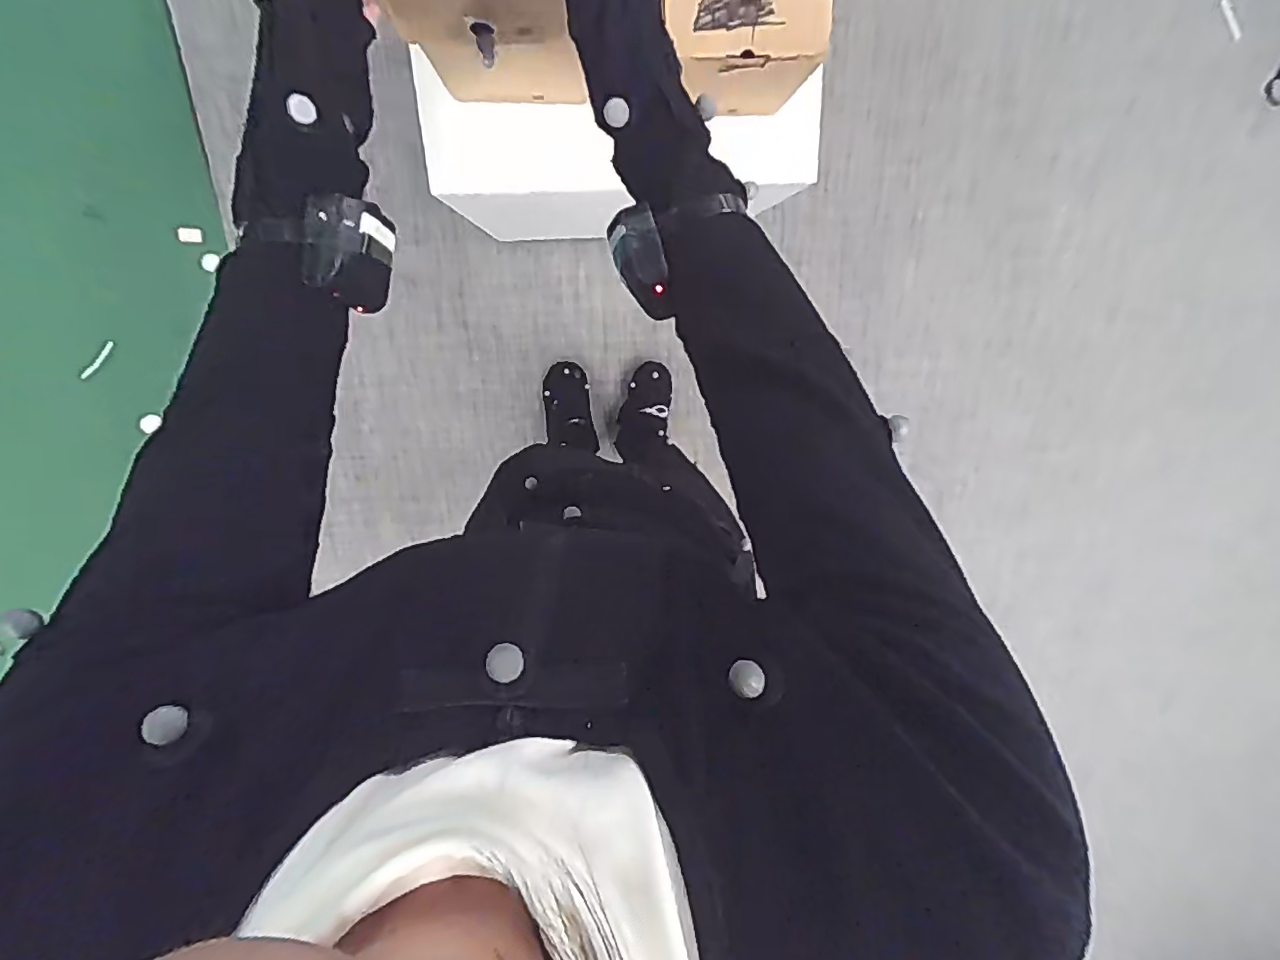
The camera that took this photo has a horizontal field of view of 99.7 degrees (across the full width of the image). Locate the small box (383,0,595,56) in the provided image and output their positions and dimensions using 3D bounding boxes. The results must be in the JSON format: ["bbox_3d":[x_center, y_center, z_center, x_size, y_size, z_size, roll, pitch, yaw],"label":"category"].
[{"bbox_3d":[-0.120,-0.437,0.375,0.168,0.176,0.179,-6,108,-3],"label":"small box"}]

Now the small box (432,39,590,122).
[{"bbox_3d":[-0.139,-0.517,0.578,0.168,0.176,0.179,-1,105,-4],"label":"small box"}]
